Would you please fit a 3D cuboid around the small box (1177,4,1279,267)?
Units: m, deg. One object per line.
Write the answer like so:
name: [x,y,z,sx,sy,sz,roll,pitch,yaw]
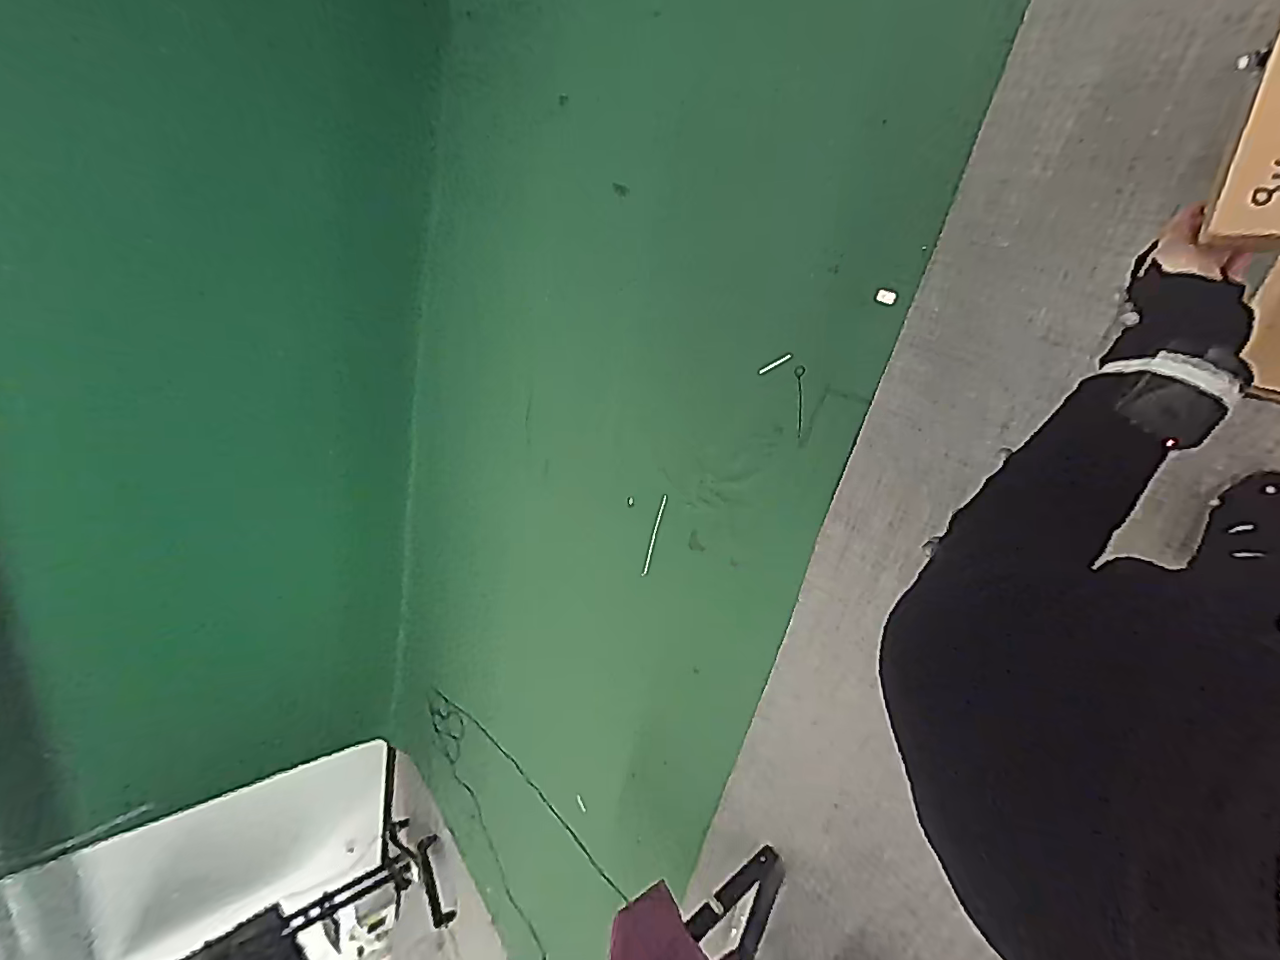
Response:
small box: [0.483,-0.224,0.333,0.179,0.176,0.168,18,114,36]
